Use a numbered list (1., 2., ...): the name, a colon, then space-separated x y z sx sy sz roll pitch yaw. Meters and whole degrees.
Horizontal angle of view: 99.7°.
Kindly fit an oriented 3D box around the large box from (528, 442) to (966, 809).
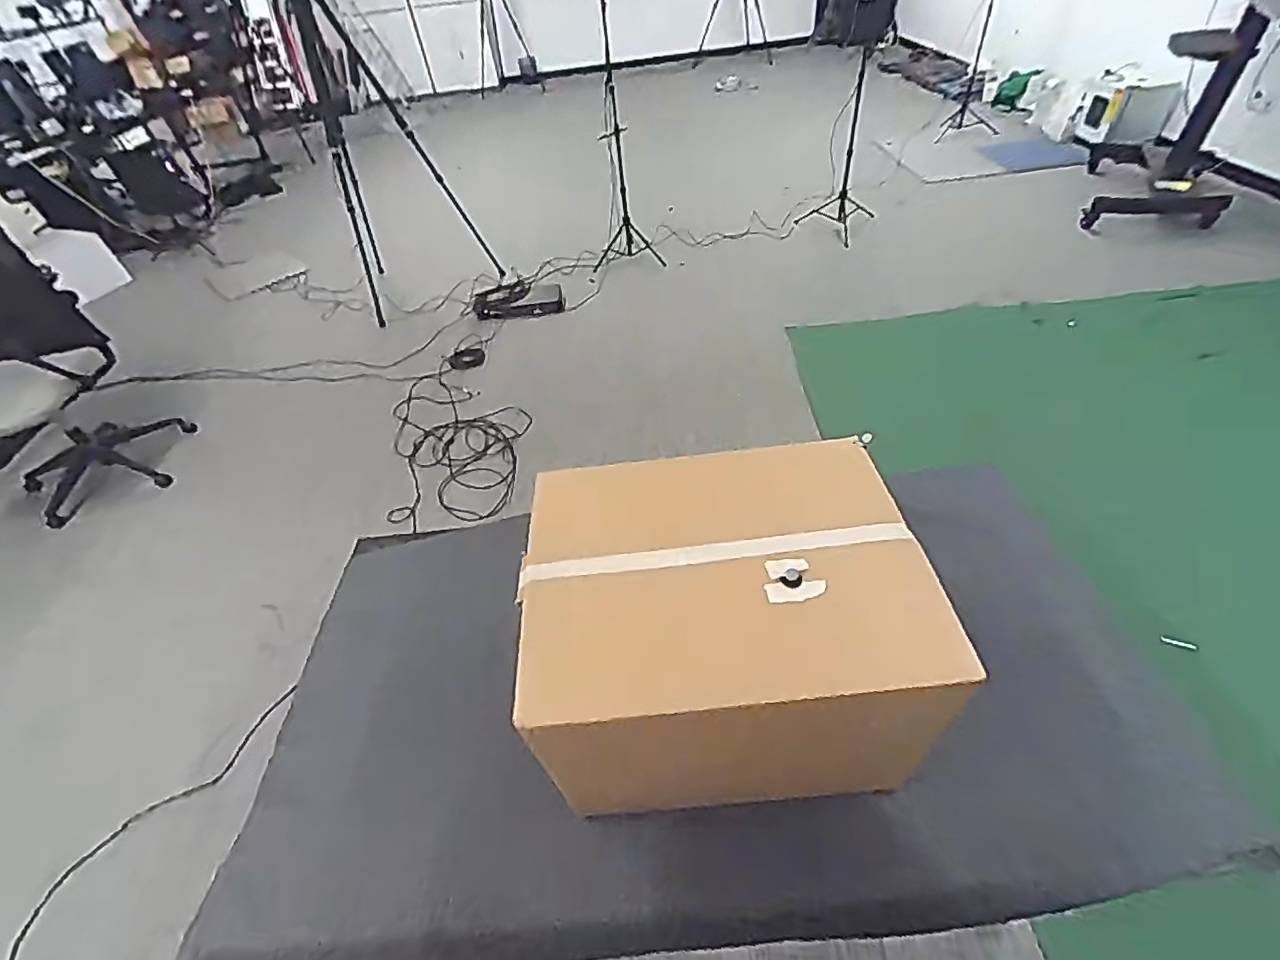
1. large box: 0.095 0.186 0.687 0.408 0.320 0.320 -6 46 1
